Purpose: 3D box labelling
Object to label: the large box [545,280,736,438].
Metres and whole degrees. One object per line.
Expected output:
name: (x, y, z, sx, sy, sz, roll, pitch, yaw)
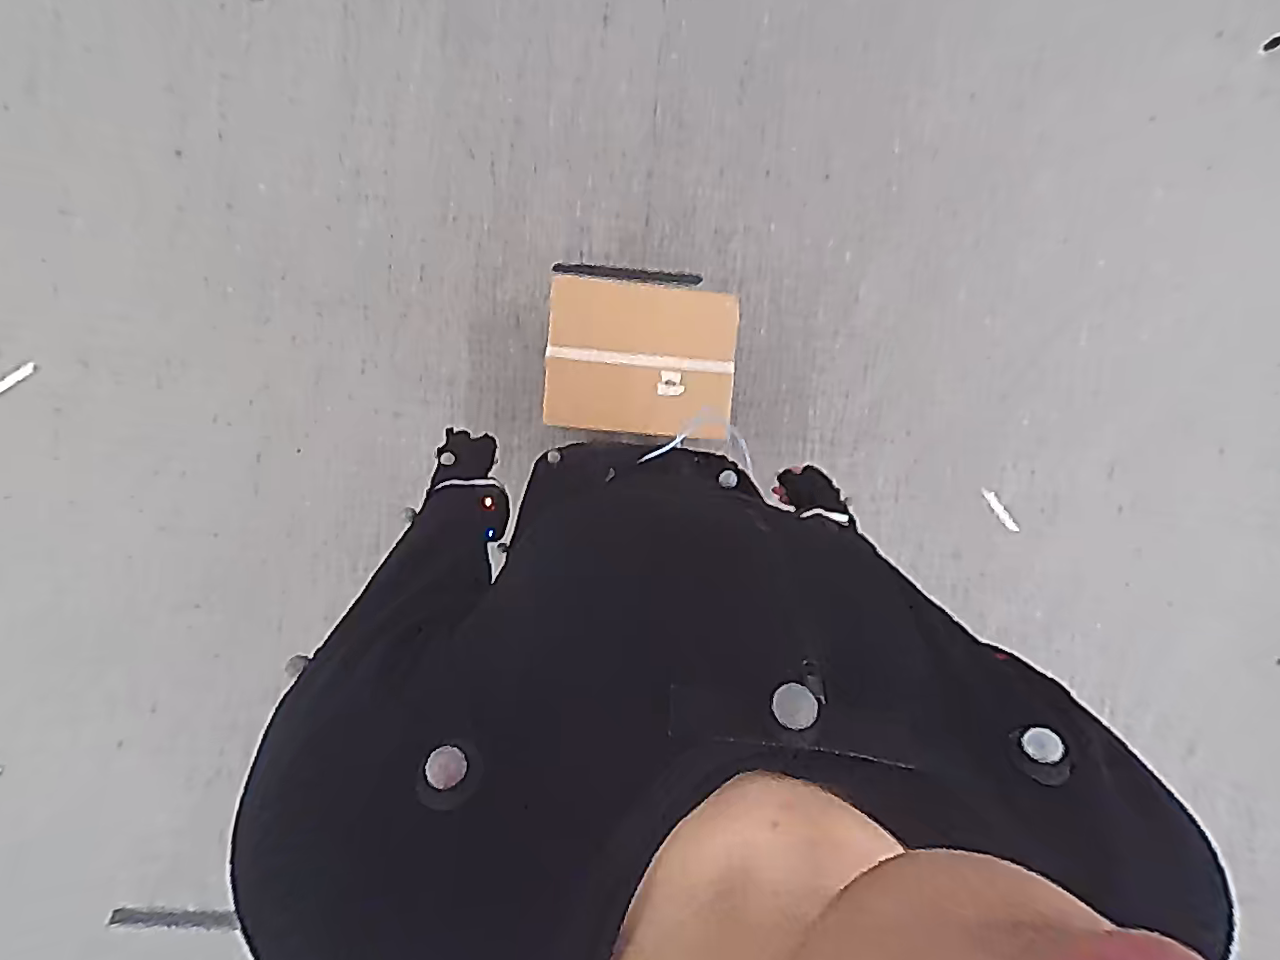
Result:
large box: (-0.013, -0.270, 1.318, 0.408, 0.320, 0.320, 5, 95, -5)
